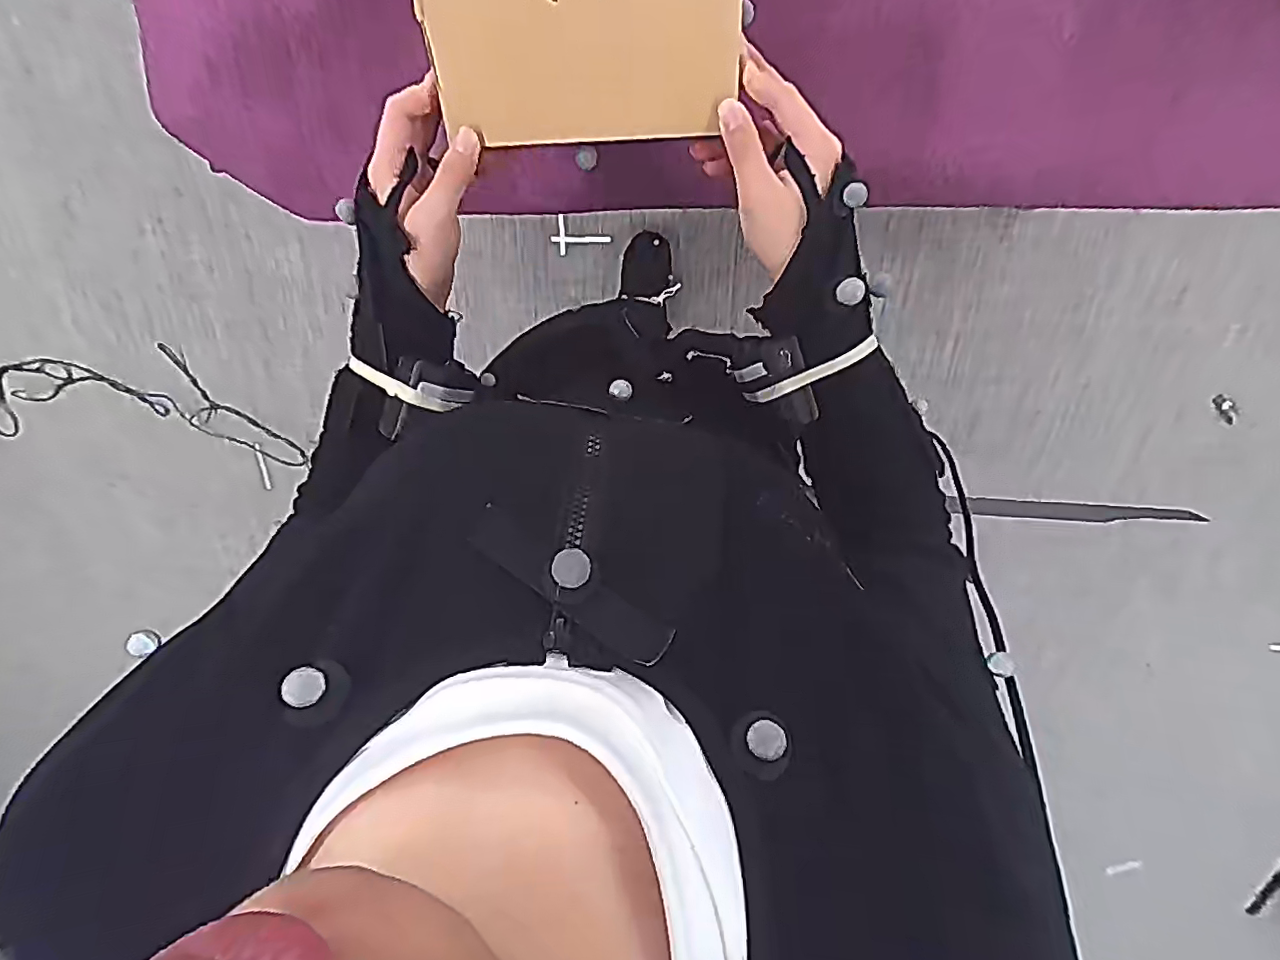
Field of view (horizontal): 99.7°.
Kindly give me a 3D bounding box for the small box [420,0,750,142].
[{"bbox_3d":[-0.029,-0.316,0.336,0.179,0.176,0.168,-1,125,3],"label":"small box"}]
